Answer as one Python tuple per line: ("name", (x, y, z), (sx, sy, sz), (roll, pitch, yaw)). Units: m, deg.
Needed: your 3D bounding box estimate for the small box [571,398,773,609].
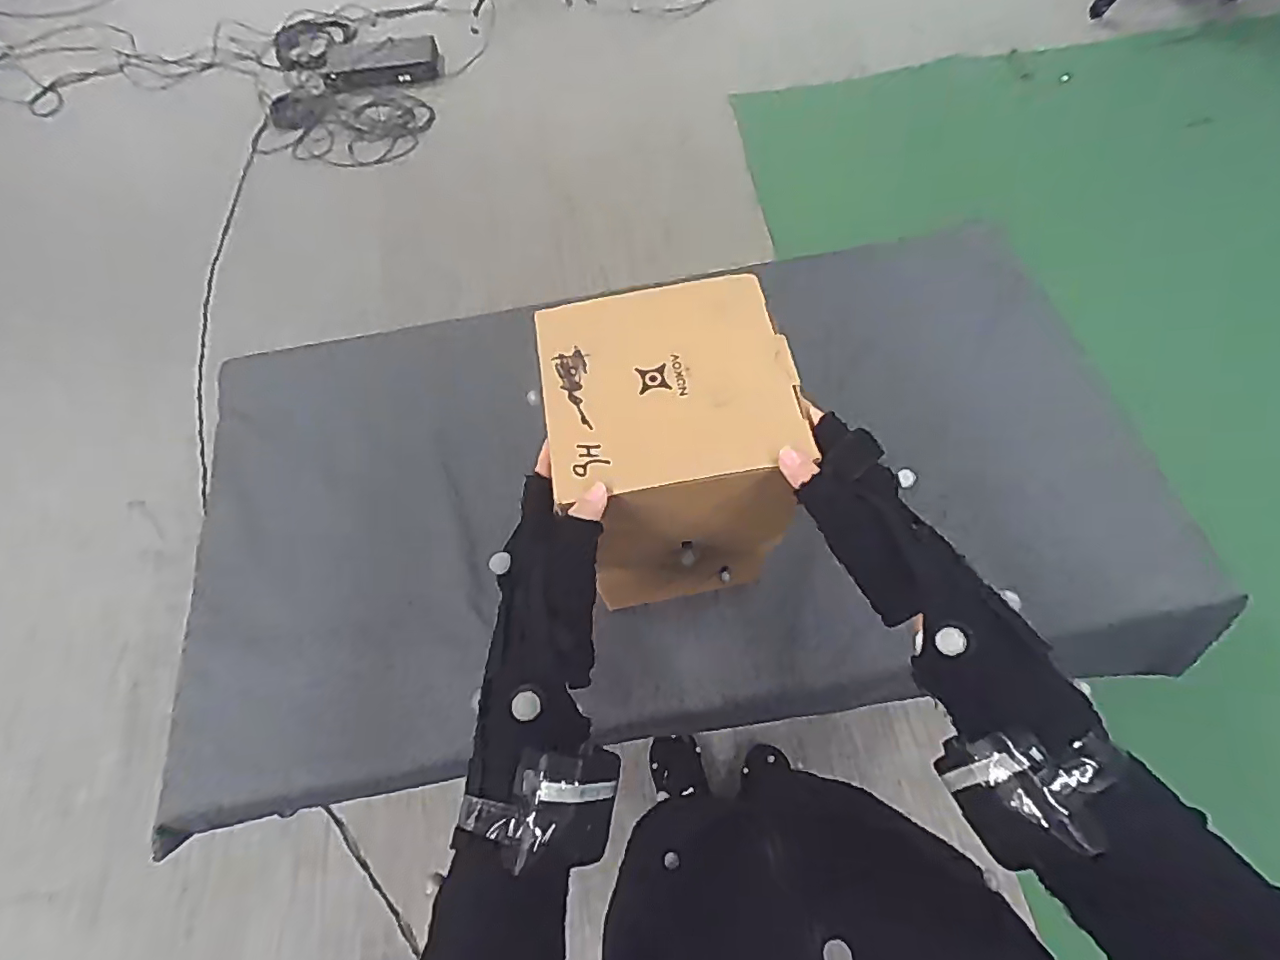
("small box", (0.031, 0.035, 0.609), (0.179, 0.176, 0.168), (-13, 64, -1))
